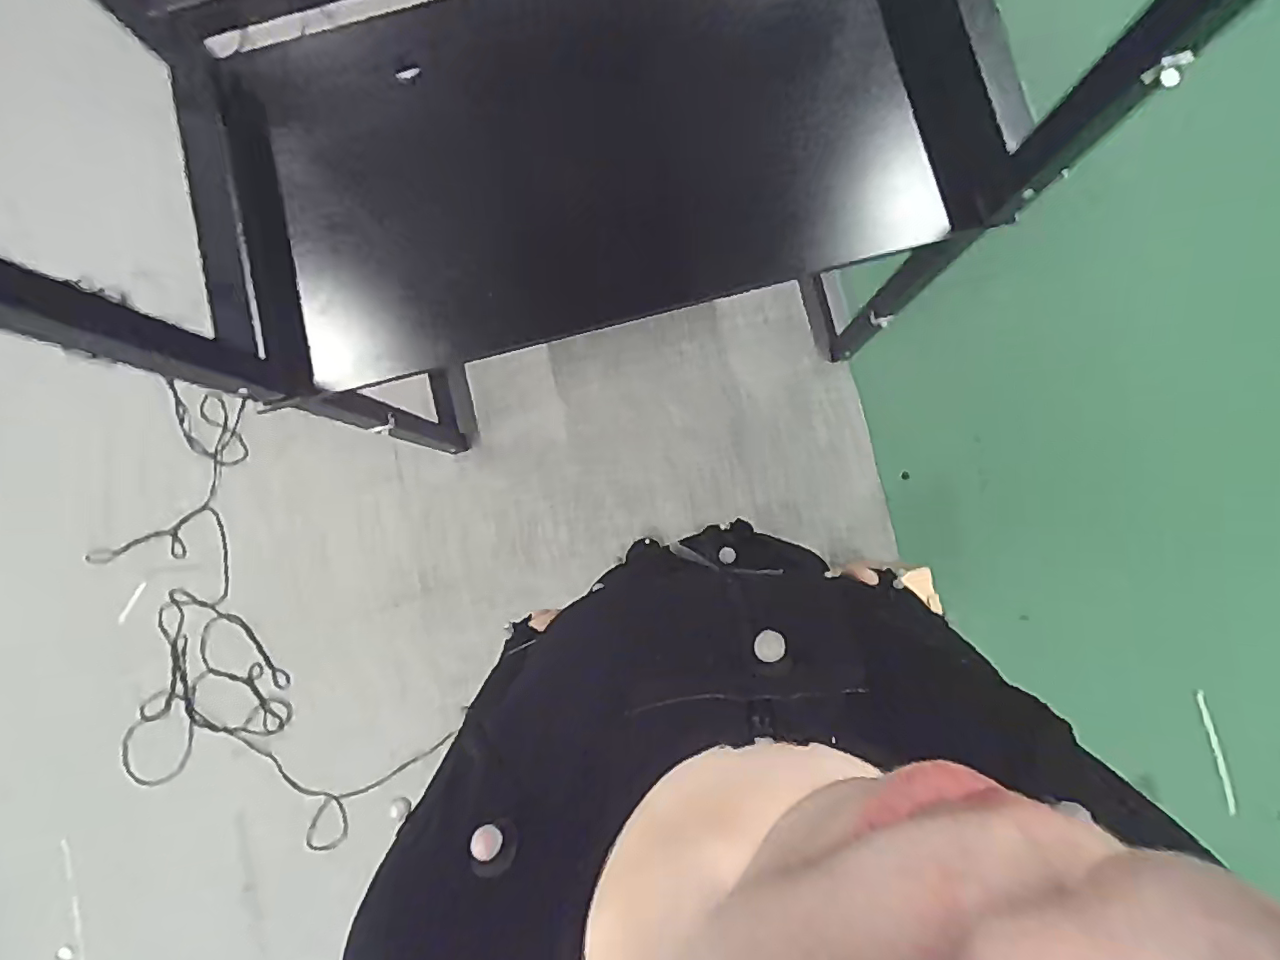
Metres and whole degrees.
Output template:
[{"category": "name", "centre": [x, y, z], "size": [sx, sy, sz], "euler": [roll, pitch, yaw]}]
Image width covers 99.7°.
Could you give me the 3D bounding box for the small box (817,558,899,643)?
[{"category": "small box", "centre": [0.567, 0.301, 1.380], "size": [0.179, 0.176, 0.168], "euler": [-15, 85, 3]}]

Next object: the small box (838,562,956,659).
[{"category": "small box", "centre": [0.564, 0.287, 1.218], "size": [0.179, 0.176, 0.168], "euler": [-14, 85, 2]}]
